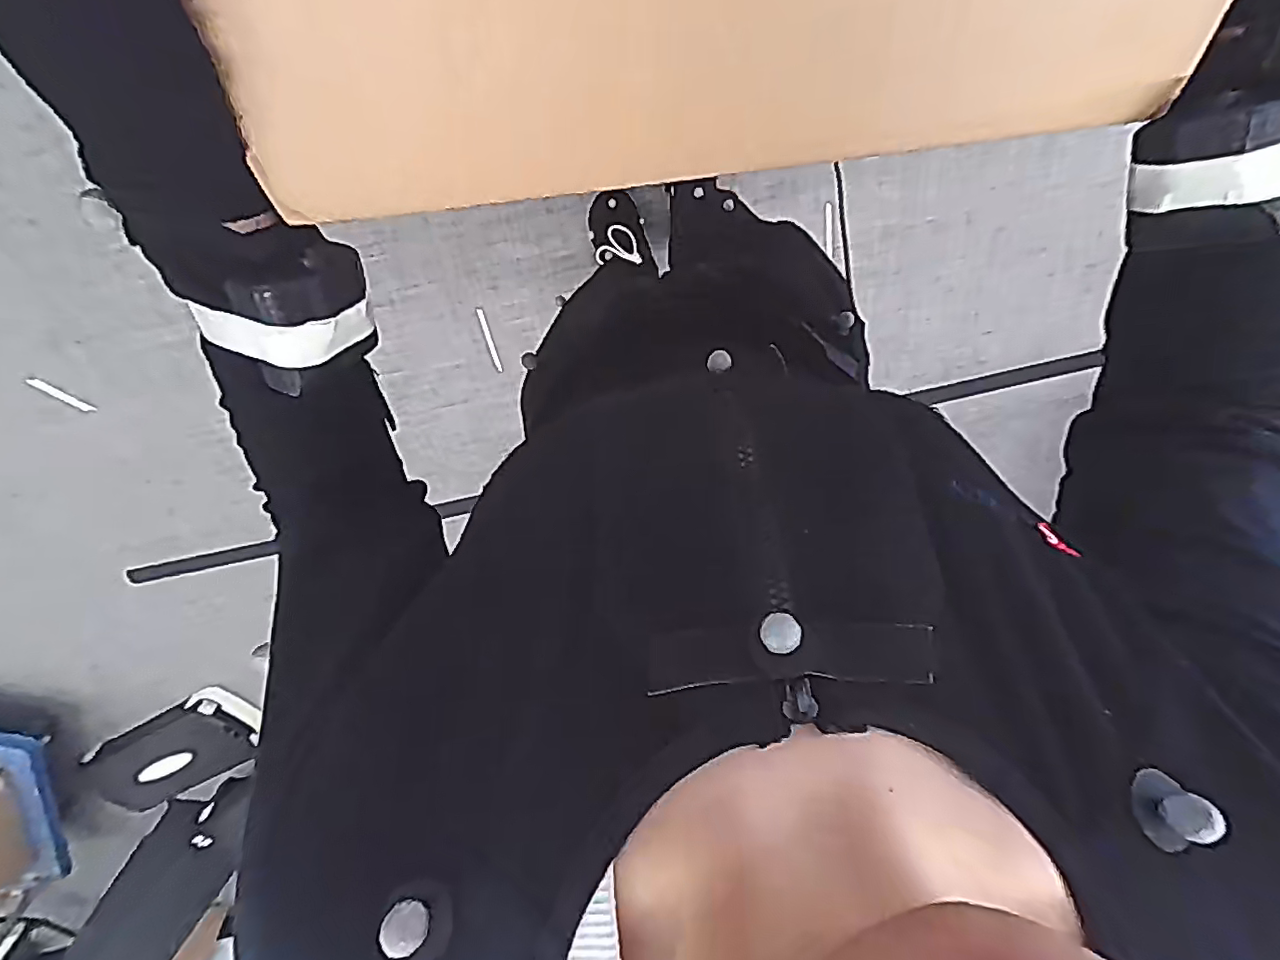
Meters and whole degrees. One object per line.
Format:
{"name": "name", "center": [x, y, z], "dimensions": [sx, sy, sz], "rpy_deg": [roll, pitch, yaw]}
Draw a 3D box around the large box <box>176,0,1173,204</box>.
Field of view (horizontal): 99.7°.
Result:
{"name": "large box", "center": [0.007, -0.365, 0.231], "dimensions": [0.408, 0.320, 0.320], "rpy_deg": [-8, 139, -1]}
